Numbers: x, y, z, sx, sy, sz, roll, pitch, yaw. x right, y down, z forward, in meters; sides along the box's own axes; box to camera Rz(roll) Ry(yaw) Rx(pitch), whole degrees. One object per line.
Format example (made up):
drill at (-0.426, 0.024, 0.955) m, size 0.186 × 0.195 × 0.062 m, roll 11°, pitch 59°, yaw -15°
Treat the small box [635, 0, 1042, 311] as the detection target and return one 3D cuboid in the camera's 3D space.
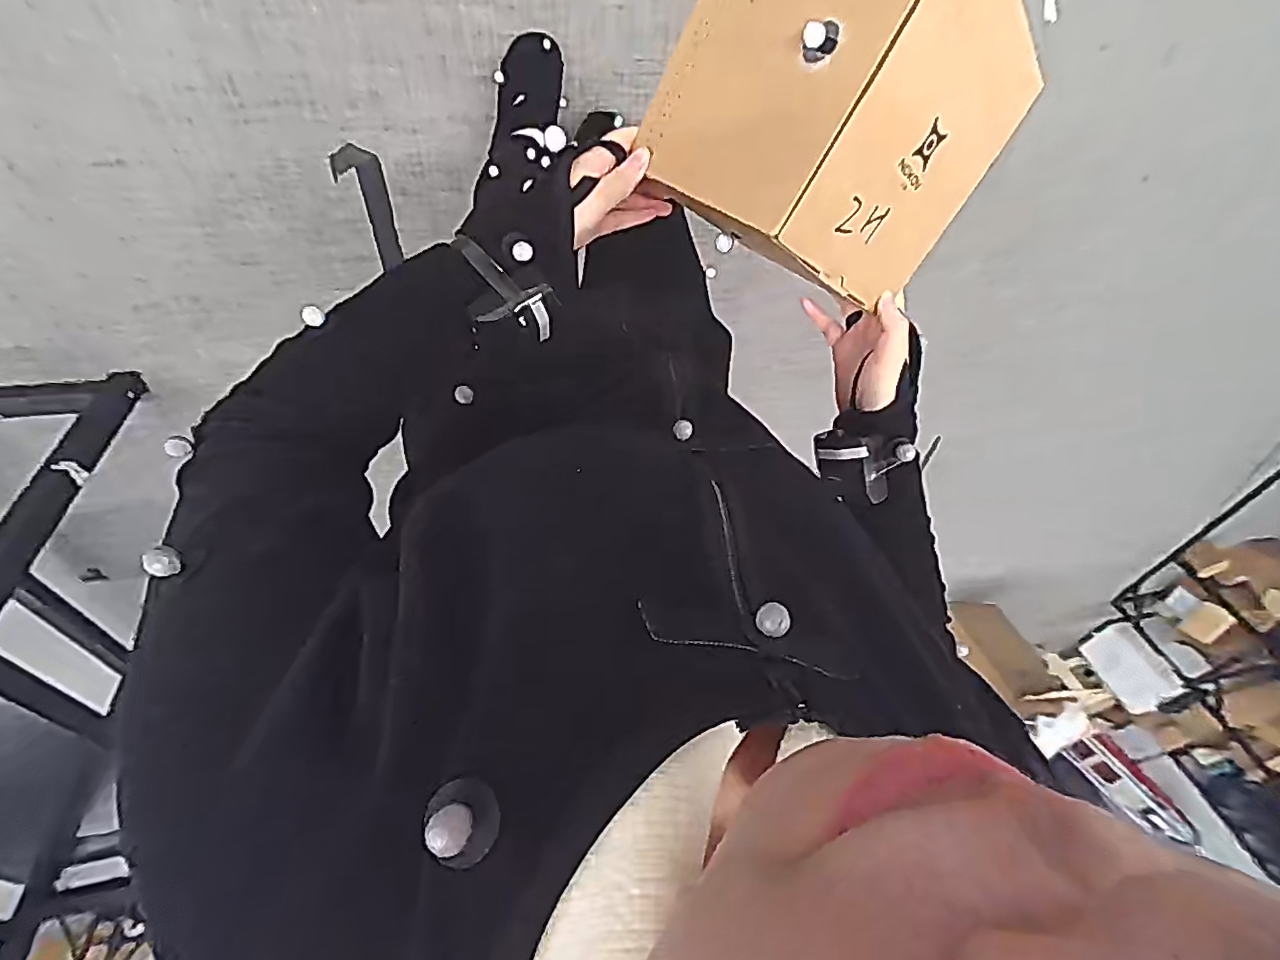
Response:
small box at (0.125, -0.252, 0.376) m, size 0.168 × 0.176 × 0.179 m, roll 6°, pitch 123°, yaw -46°
